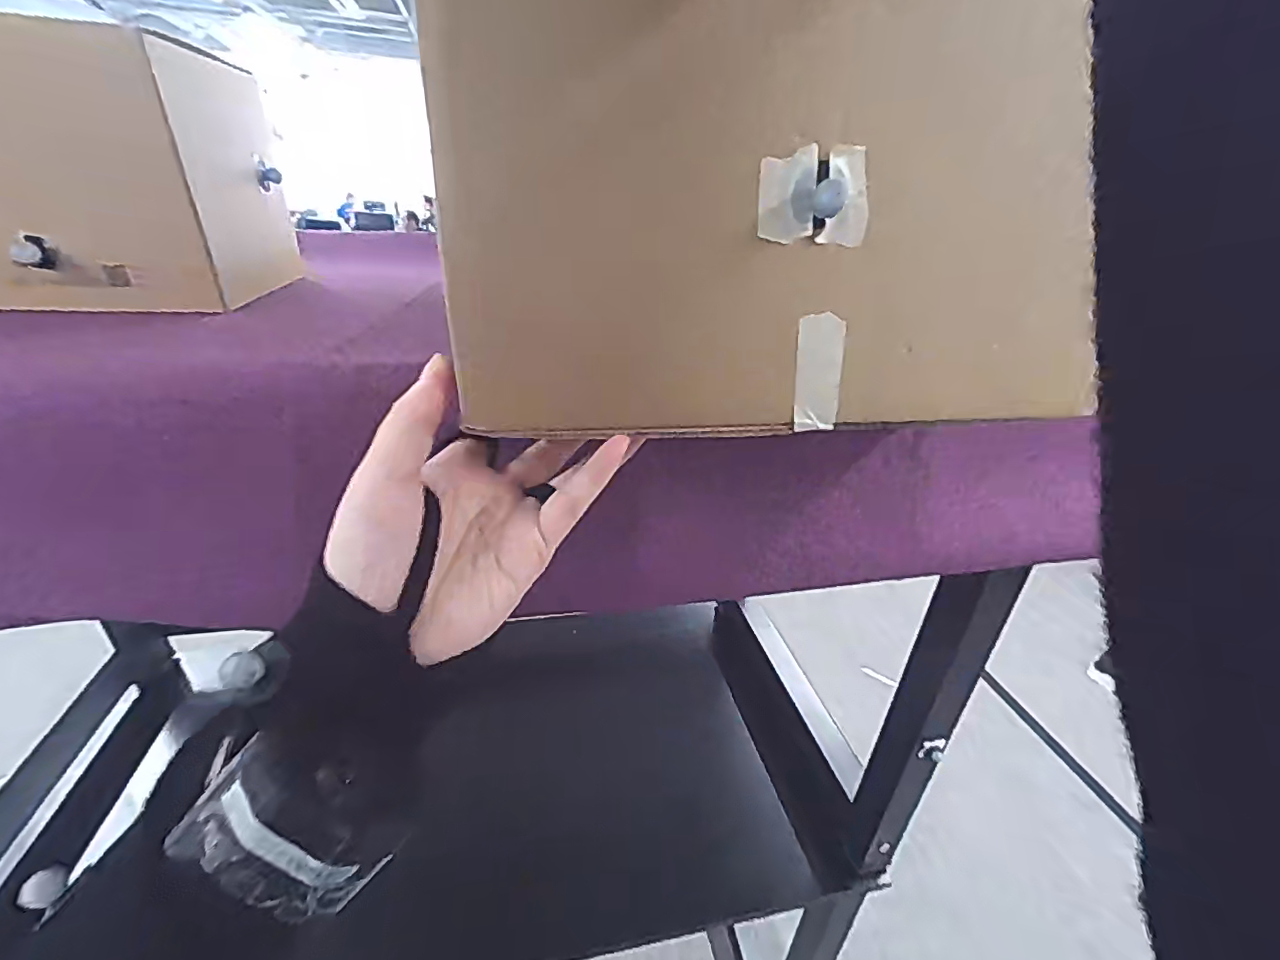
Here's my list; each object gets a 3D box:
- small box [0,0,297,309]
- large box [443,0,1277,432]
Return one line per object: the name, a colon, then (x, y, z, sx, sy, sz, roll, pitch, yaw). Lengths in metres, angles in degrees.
small box: (-0.389, -0.234, 0.410, 0.168, 0.176, 0.179, -4, 29, -11)
large box: (0.053, -0.249, 0.345, 0.320, 0.320, 0.408, -2, 28, -10)
